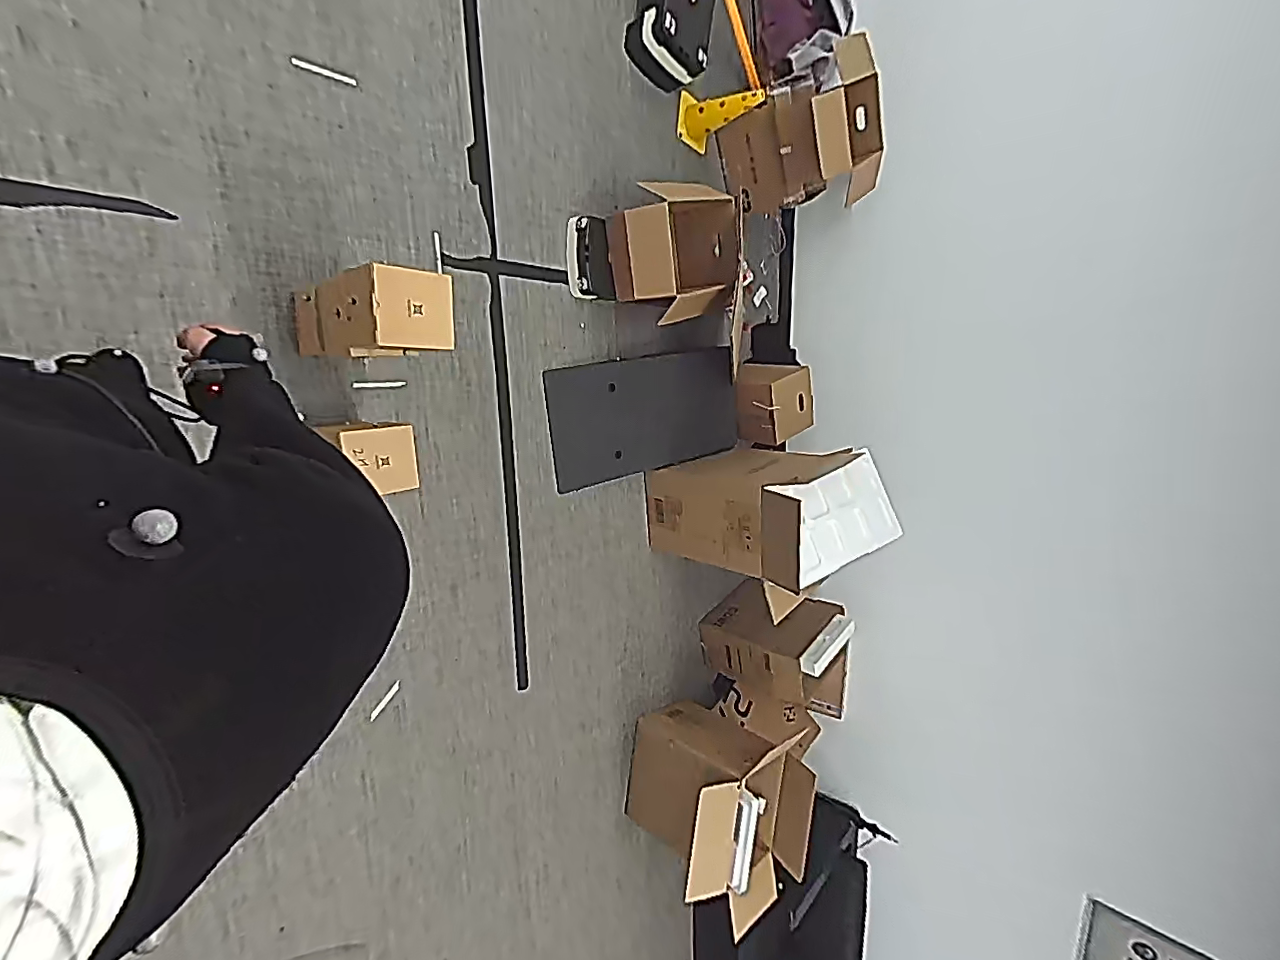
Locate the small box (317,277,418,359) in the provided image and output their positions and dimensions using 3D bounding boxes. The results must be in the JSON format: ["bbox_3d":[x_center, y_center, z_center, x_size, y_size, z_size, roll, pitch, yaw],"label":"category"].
[{"bbox_3d":[-0.666,-0.386,1.319,0.168,0.176,0.179,-14,109,-46],"label":"small box"}]

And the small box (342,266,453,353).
[{"bbox_3d":[-0.543,-0.375,1.214,0.179,0.176,0.168,-10,106,-46],"label":"small box"}]

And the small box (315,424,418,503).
[{"bbox_3d":[-0.689,-0.050,1.366,0.179,0.176,0.168,-14,107,-45],"label":"small box"}]

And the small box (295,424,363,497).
[{"bbox_3d":[-0.811,-0.059,1.477,0.179,0.176,0.168,-16,108,-44],"label":"small box"}]
